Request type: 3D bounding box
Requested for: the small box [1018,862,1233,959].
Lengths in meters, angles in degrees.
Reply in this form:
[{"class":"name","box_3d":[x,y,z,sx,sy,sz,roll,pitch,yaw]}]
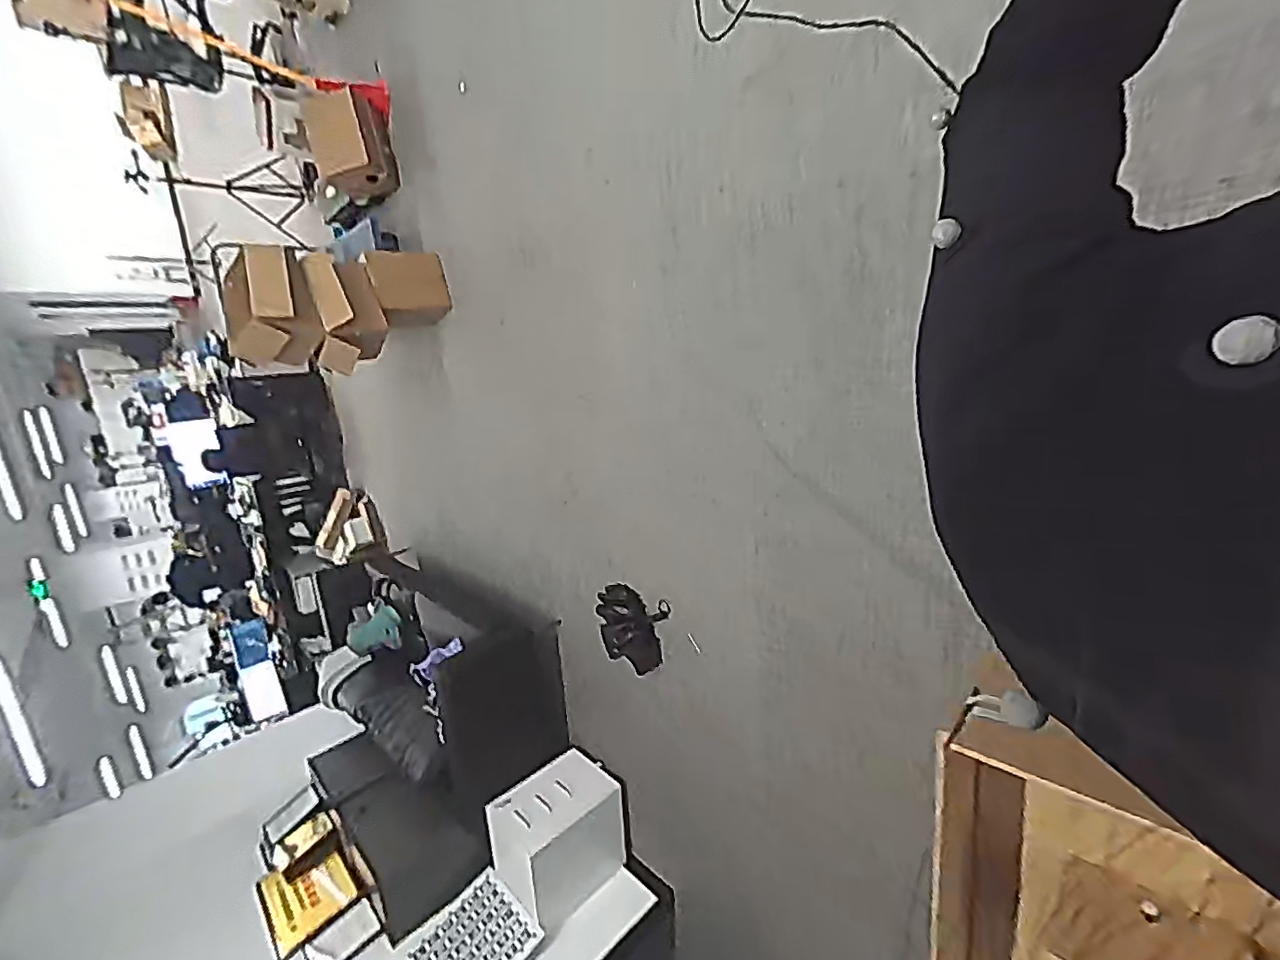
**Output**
[{"class":"small box","box_3d":[0.591,0.624,0.667,0.179,0.176,0.168,7,109,47]}]
